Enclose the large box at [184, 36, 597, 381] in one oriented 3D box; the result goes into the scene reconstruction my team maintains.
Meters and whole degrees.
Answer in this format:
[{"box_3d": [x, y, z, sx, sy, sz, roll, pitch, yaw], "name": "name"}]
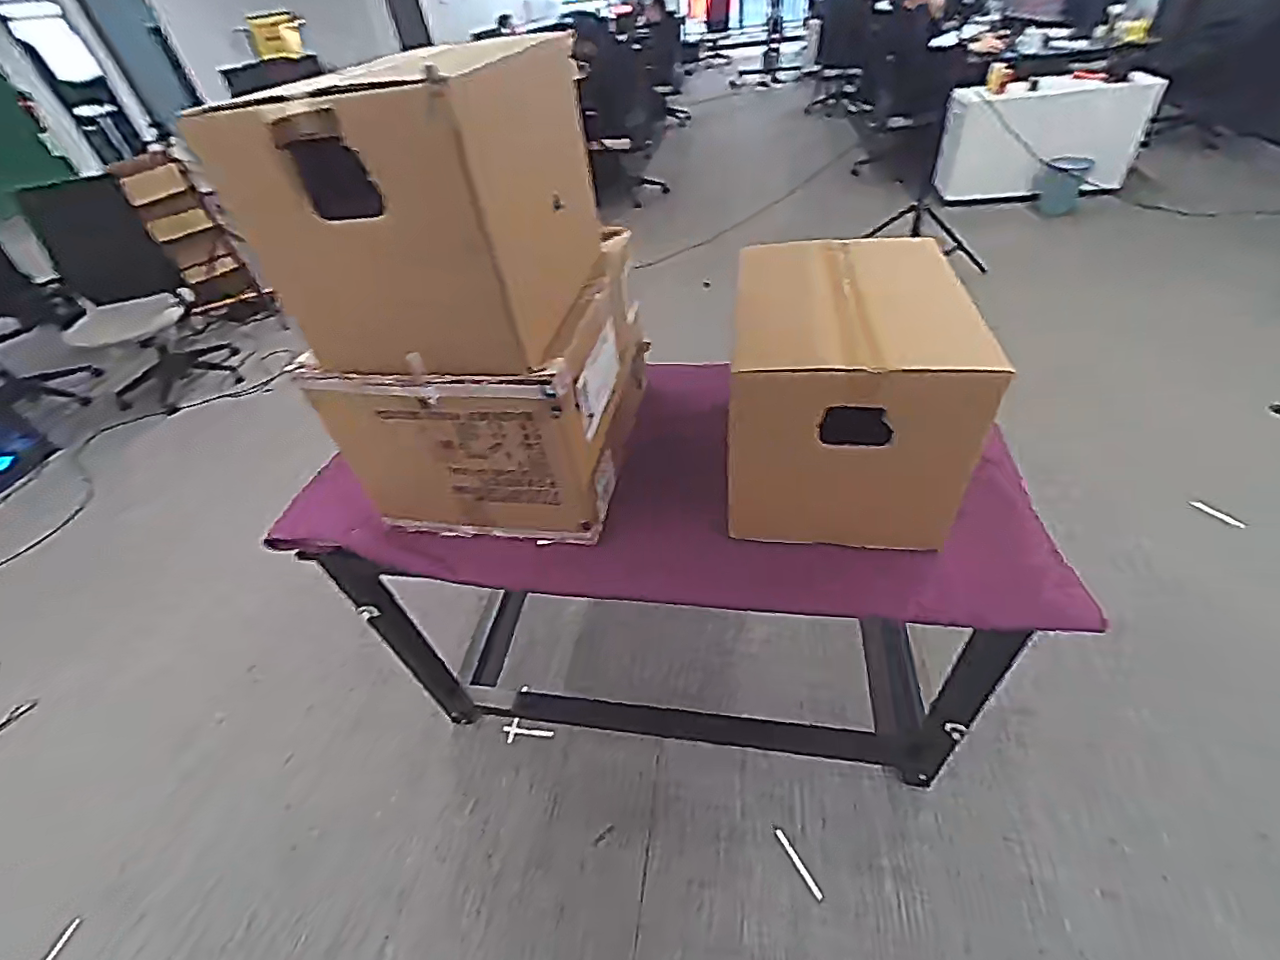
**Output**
[{"box_3d": [-0.265, -0.380, 0.752, 0.320, 0.320, 0.408, 0, 44, 12], "name": "large box"}]
